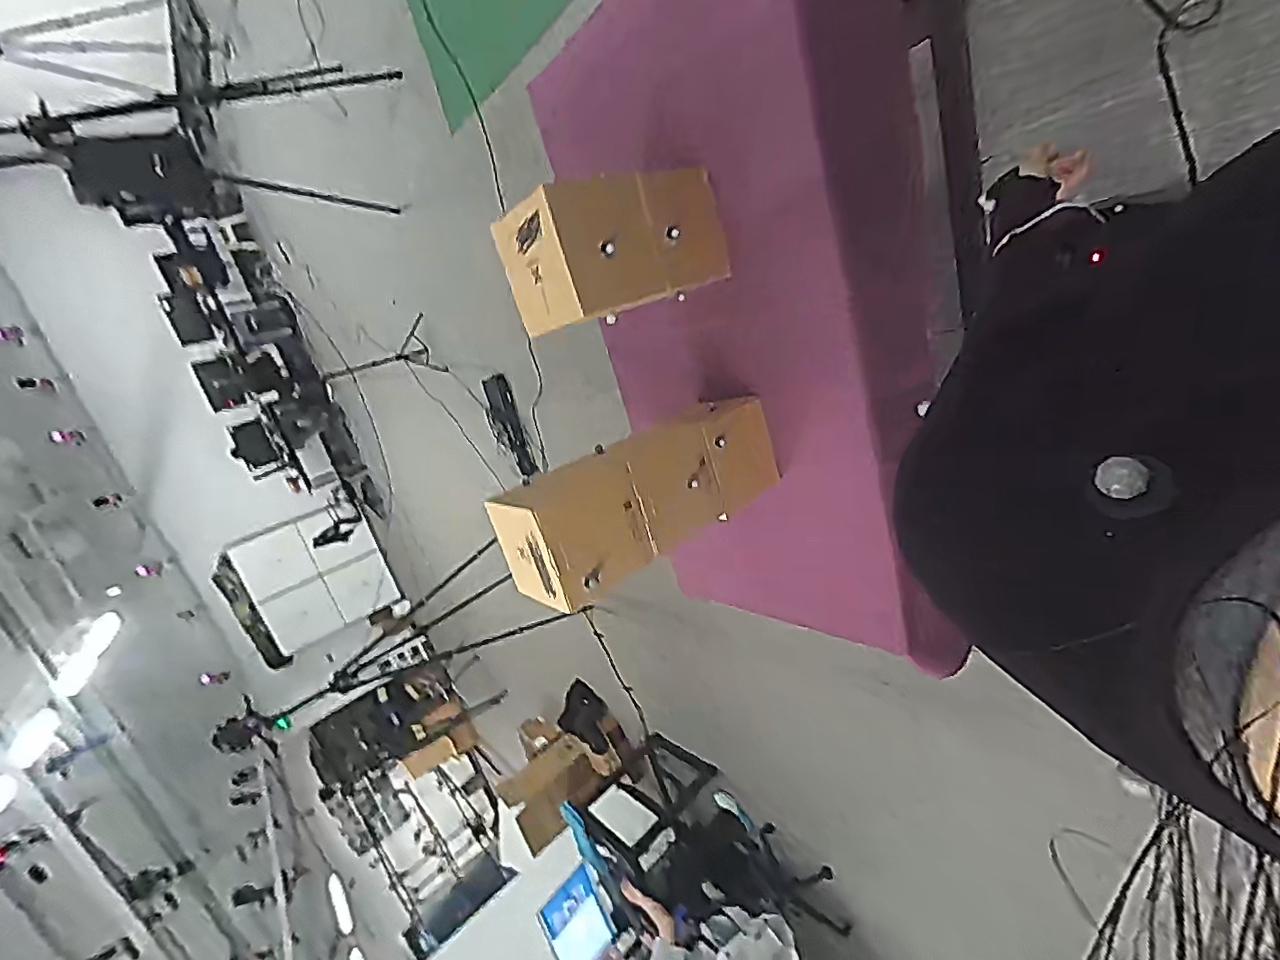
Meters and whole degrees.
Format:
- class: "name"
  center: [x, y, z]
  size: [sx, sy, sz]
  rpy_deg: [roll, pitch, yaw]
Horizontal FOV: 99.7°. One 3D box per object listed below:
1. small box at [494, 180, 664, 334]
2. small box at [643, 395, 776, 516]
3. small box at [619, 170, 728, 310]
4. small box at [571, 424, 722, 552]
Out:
- class: "small box"
  center: [-0.091, -0.344, 0.836]
  size: [0.168, 0.176, 0.179]
  rpy_deg: [2, 115, 51]
- class: "small box"
  center: [0.138, -0.049, 1.038]
  size: [0.168, 0.176, 0.179]
  rpy_deg: [1, 113, 52]
- class: "small box"
  center: [0.029, -0.409, 0.927]
  size: [0.168, 0.176, 0.179]
  rpy_deg: [3, 115, 51]
- class: "small box"
  center: [0.013, 0.008, 0.947]
  size: [0.179, 0.176, 0.168]
  rpy_deg: [1, 113, 52]
